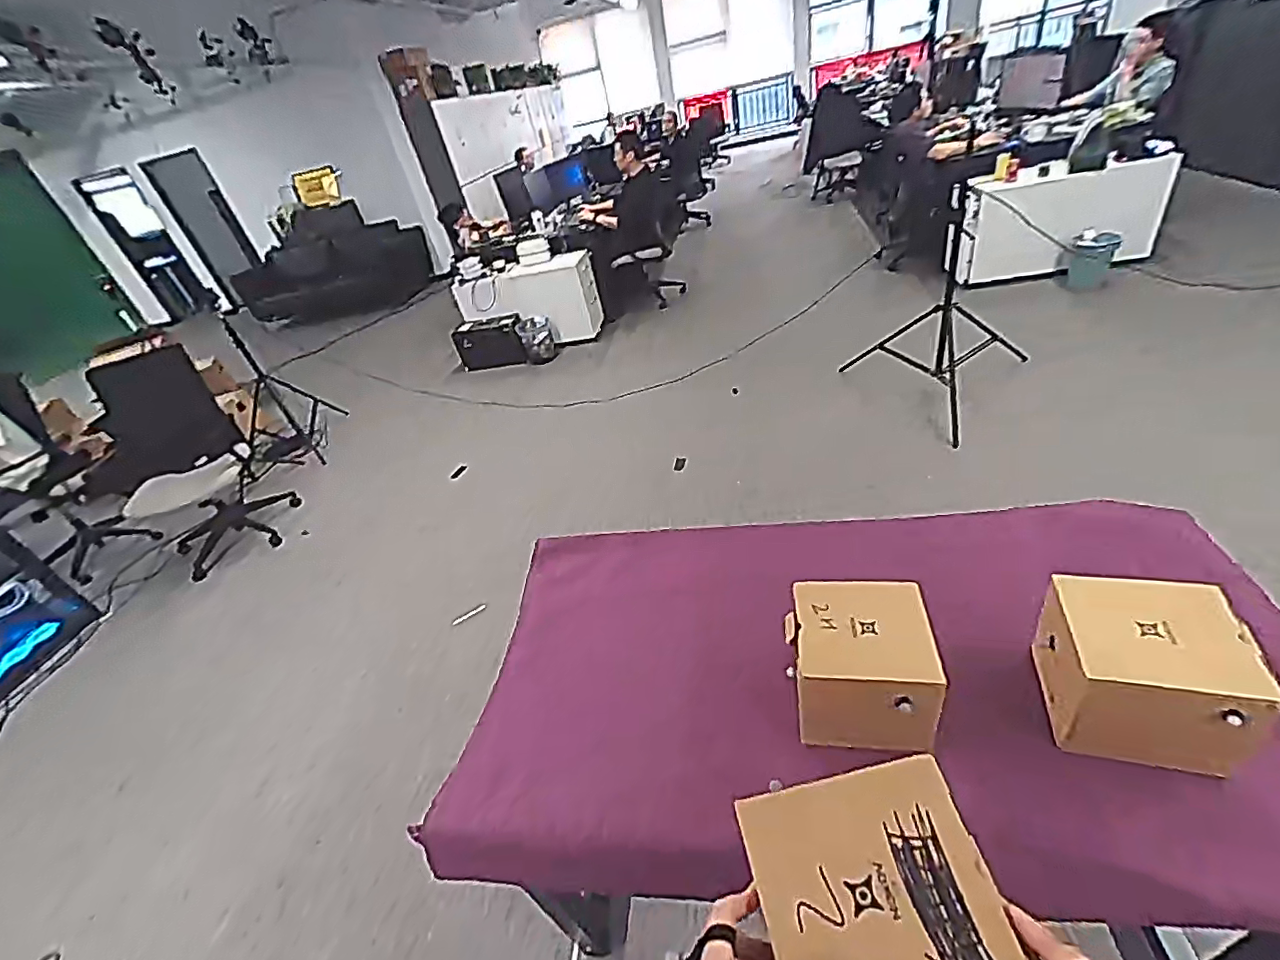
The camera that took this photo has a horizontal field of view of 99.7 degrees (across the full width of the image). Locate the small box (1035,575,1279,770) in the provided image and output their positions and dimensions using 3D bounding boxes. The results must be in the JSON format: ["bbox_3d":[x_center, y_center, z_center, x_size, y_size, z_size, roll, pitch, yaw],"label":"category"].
[{"bbox_3d":[0.637,0.245,0.699,0.179,0.176,0.168,1,38,21],"label":"small box"}]

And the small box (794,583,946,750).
[{"bbox_3d":[0.319,0.269,0.785,0.179,0.176,0.168,-4,36,16],"label":"small box"}]
